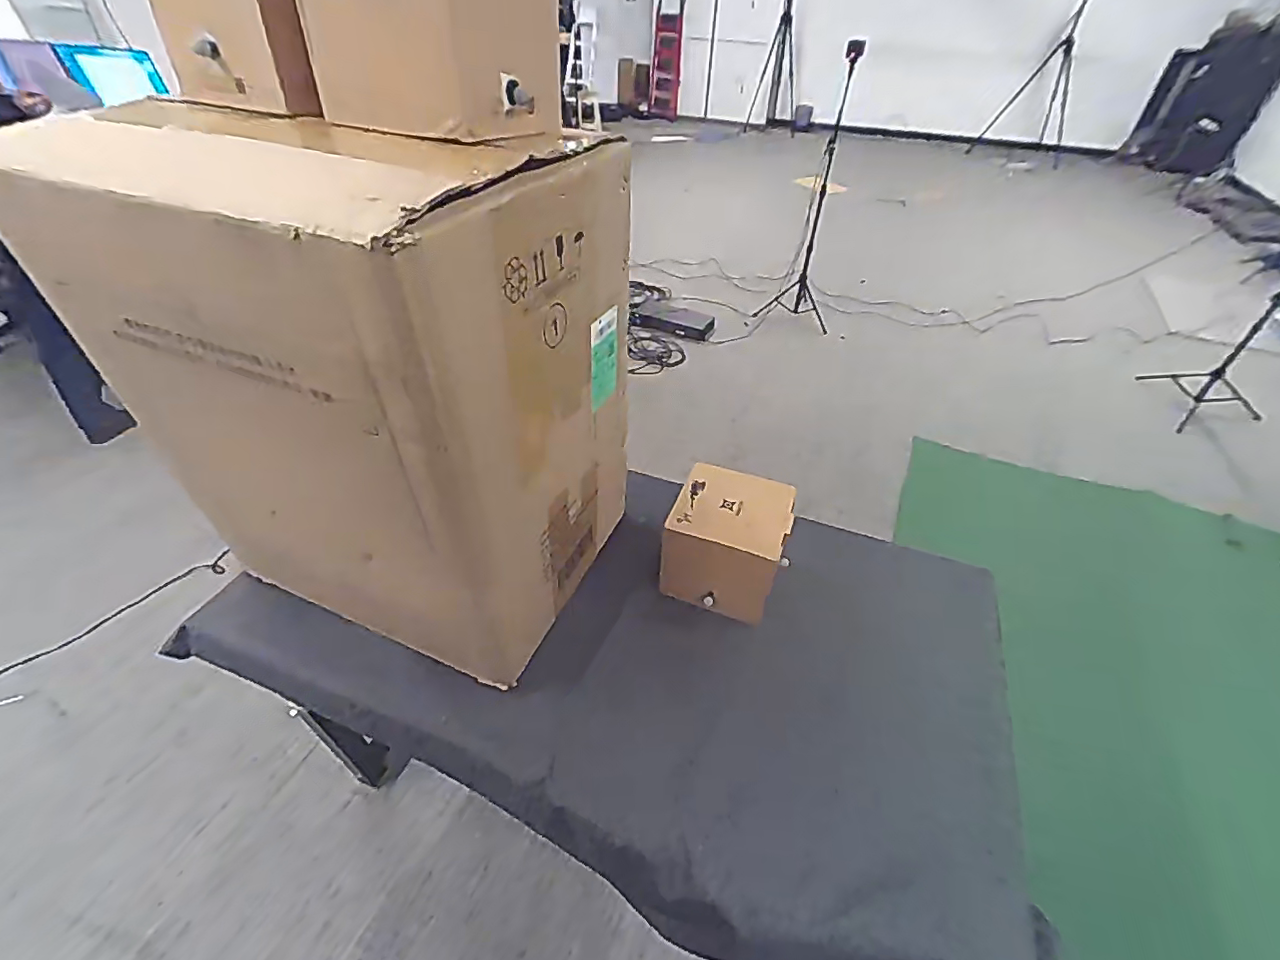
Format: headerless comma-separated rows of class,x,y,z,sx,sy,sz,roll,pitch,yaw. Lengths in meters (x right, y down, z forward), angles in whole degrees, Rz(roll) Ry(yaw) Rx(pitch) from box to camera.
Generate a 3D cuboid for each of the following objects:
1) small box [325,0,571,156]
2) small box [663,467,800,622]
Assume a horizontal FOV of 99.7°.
small box,-0.182,-0.429,0.531,0.179,0.176,0.168,18,41,16
small box,0.148,0.110,0.899,0.179,0.176,0.168,17,44,15
